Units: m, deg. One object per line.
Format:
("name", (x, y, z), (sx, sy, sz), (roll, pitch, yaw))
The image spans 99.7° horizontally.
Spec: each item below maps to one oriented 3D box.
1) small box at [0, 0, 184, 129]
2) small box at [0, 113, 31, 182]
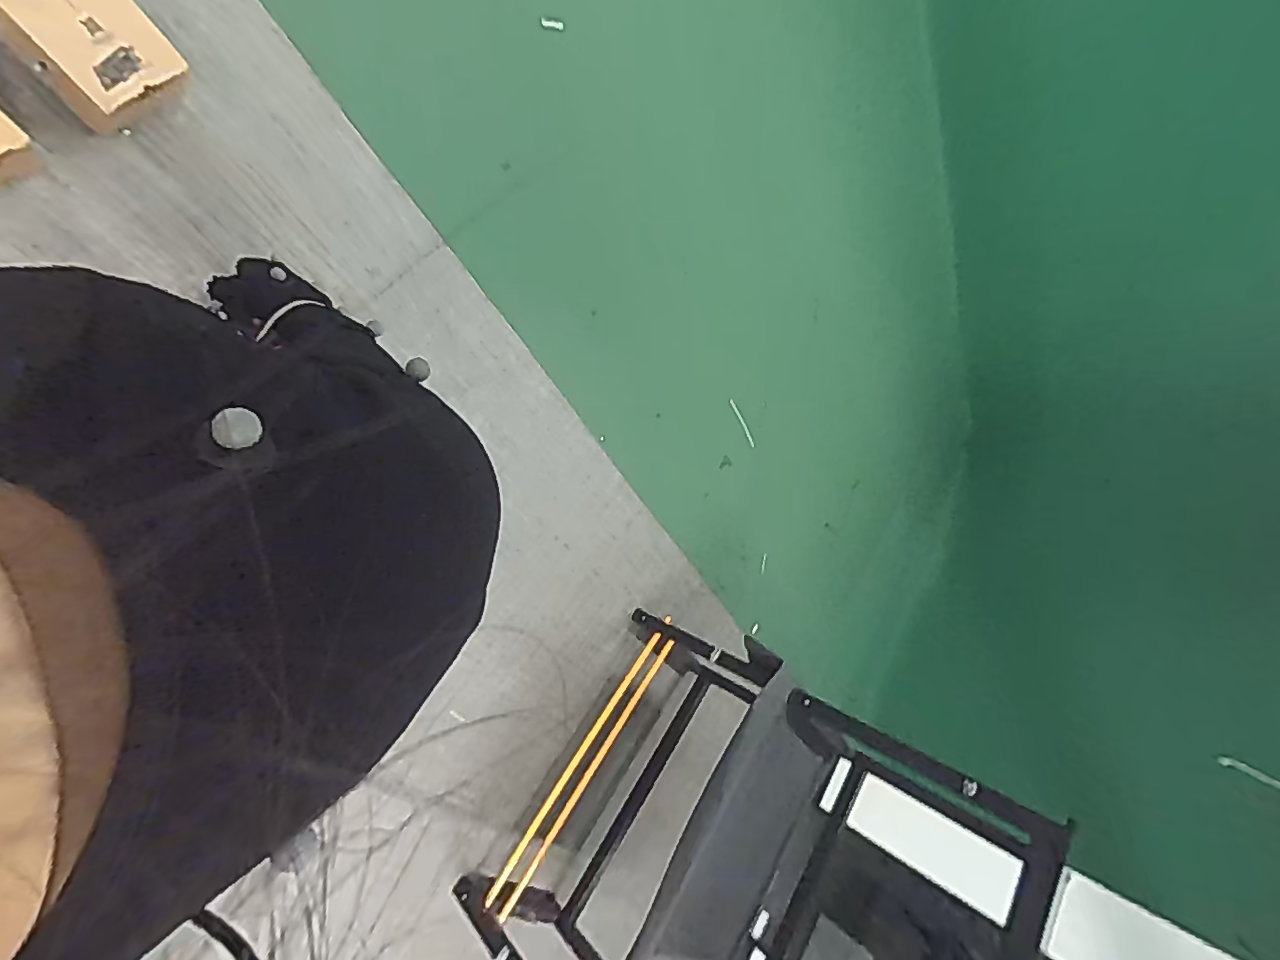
("small box", (-0.931, -0.730, 0.916), (0.168, 0.176, 0.179), (-53, 131, -22))
("small box", (-1.088, -0.540, 0.808), (0.168, 0.176, 0.179), (-52, 132, -22))
